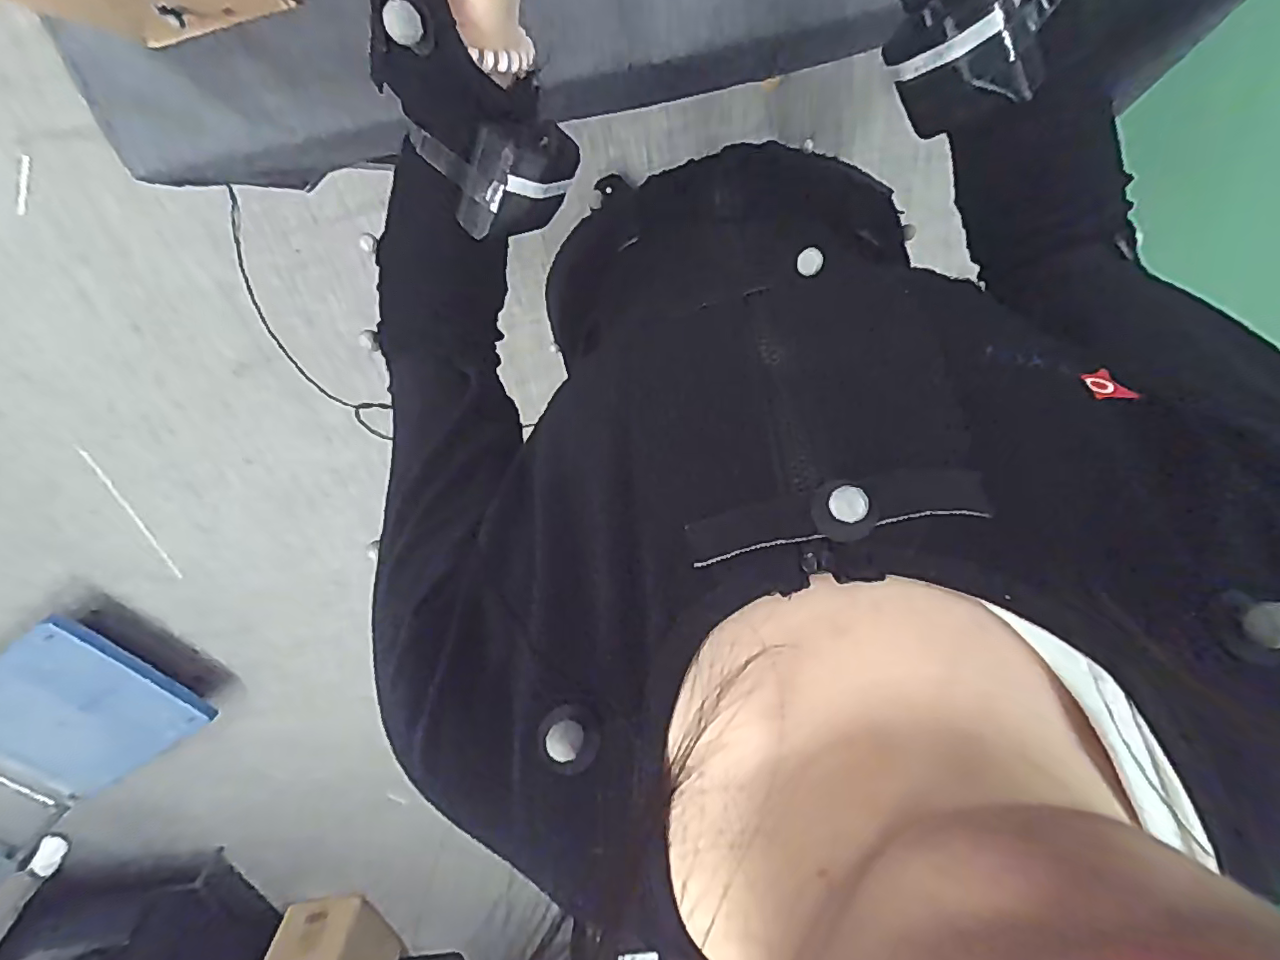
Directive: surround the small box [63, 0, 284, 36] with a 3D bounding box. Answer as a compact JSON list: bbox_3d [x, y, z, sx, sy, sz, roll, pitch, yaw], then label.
[{"bbox_3d":[-0.423,-0.486,0.415,0.168,0.176,0.179,-11,118,5],"label":"small box"}]
